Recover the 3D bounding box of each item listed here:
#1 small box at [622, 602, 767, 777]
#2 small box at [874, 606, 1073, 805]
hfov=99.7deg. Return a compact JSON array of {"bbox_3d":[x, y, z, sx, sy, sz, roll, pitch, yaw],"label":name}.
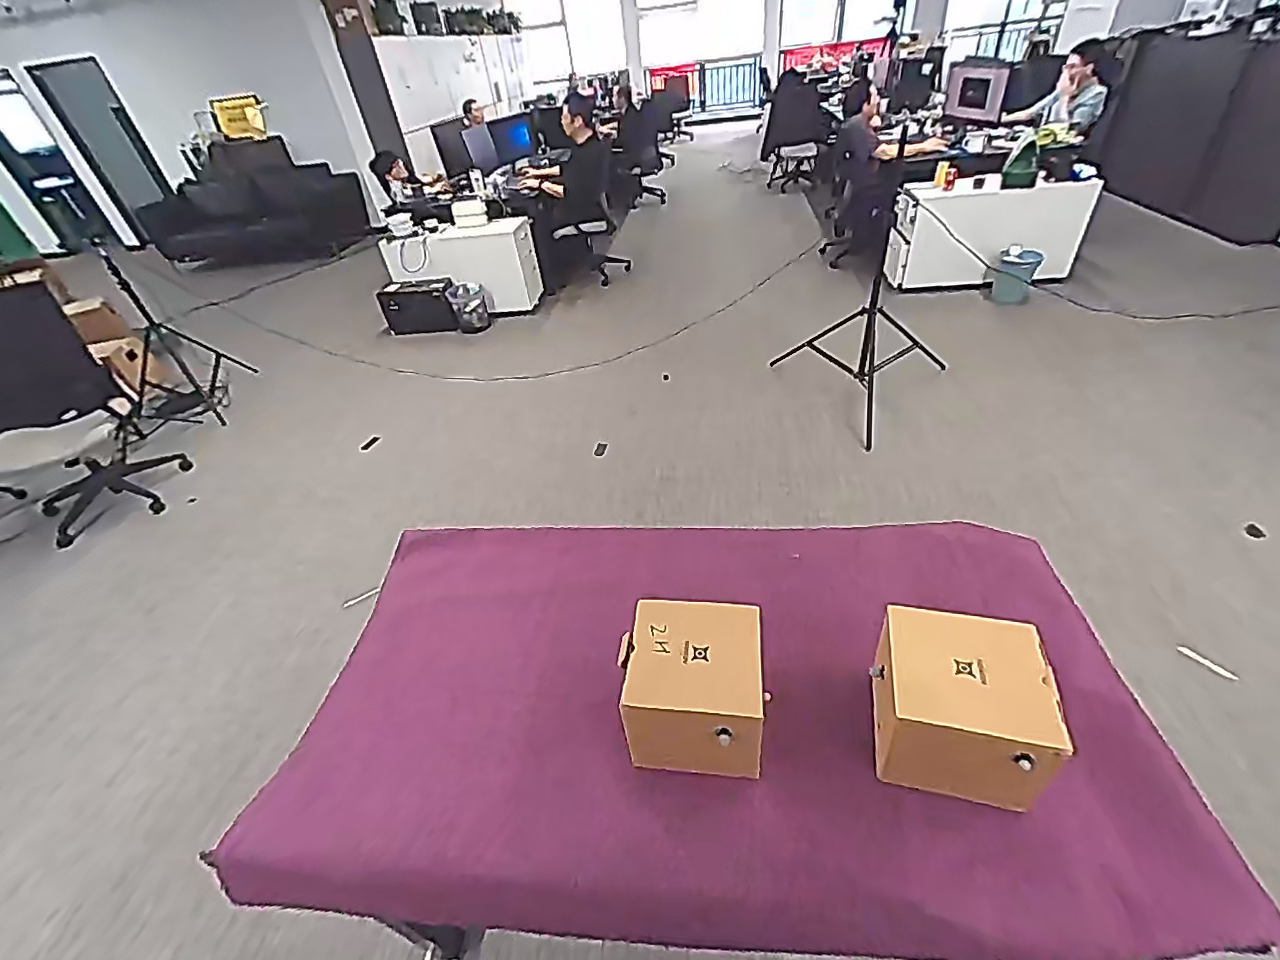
[{"bbox_3d":[0.082,0.293,0.759,0.179,0.176,0.168,0,38,10],"label":"small box"},{"bbox_3d":[0.408,0.290,0.702,0.179,0.176,0.168,5,40,16],"label":"small box"}]
